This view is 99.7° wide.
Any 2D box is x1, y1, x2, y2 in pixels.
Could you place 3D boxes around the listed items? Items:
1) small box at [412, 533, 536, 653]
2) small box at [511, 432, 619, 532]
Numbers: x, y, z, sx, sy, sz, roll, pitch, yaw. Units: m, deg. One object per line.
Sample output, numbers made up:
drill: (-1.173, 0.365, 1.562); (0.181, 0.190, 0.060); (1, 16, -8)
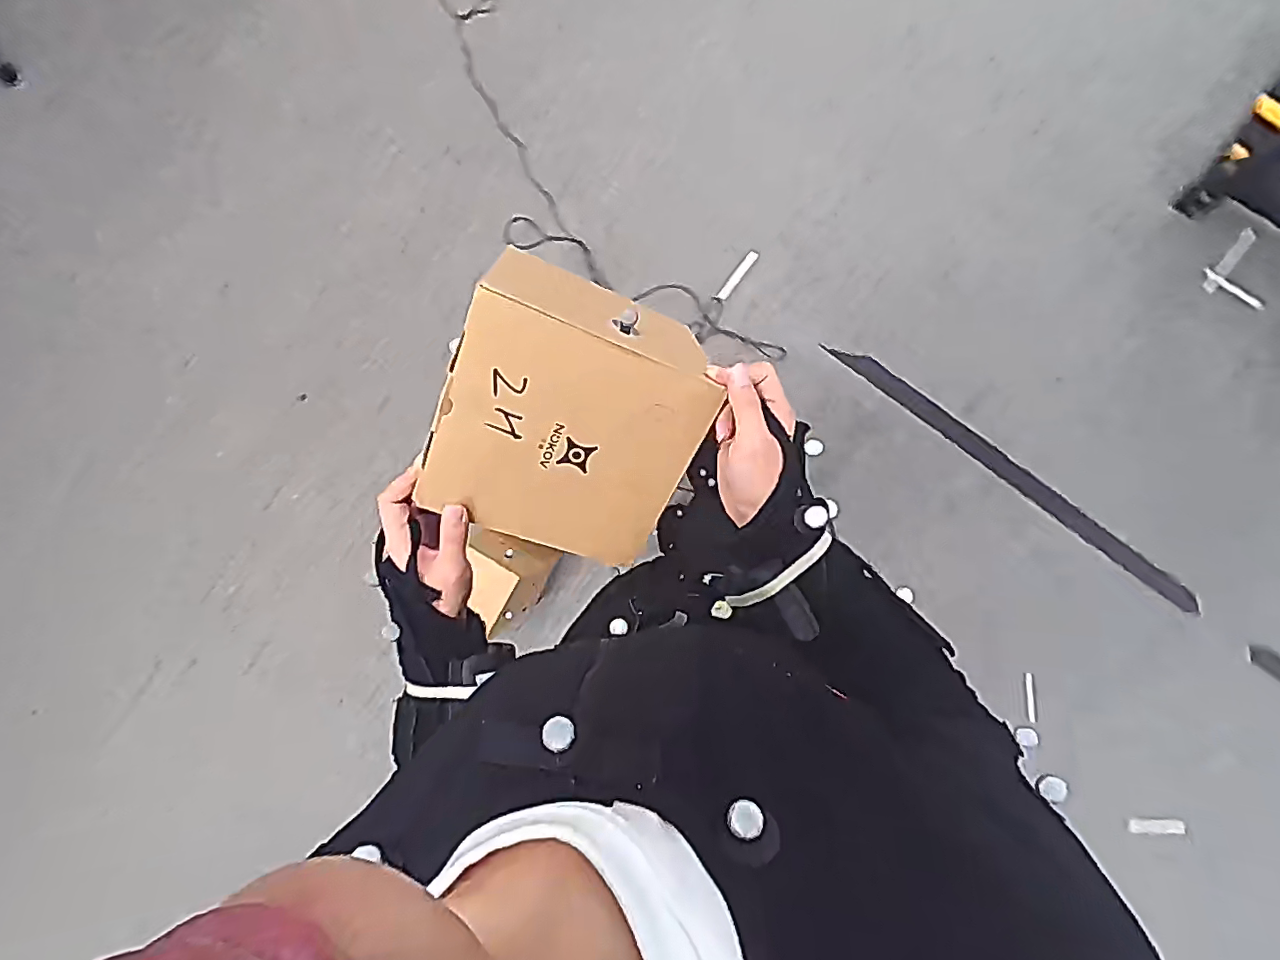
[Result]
small box: (-0.340, 0.230, 1.153); (0.168, 0.176, 0.179); (29, 95, 5)
small box: (-0.170, 0.004, 1.291); (0.179, 0.176, 0.168); (33, 95, 4)
